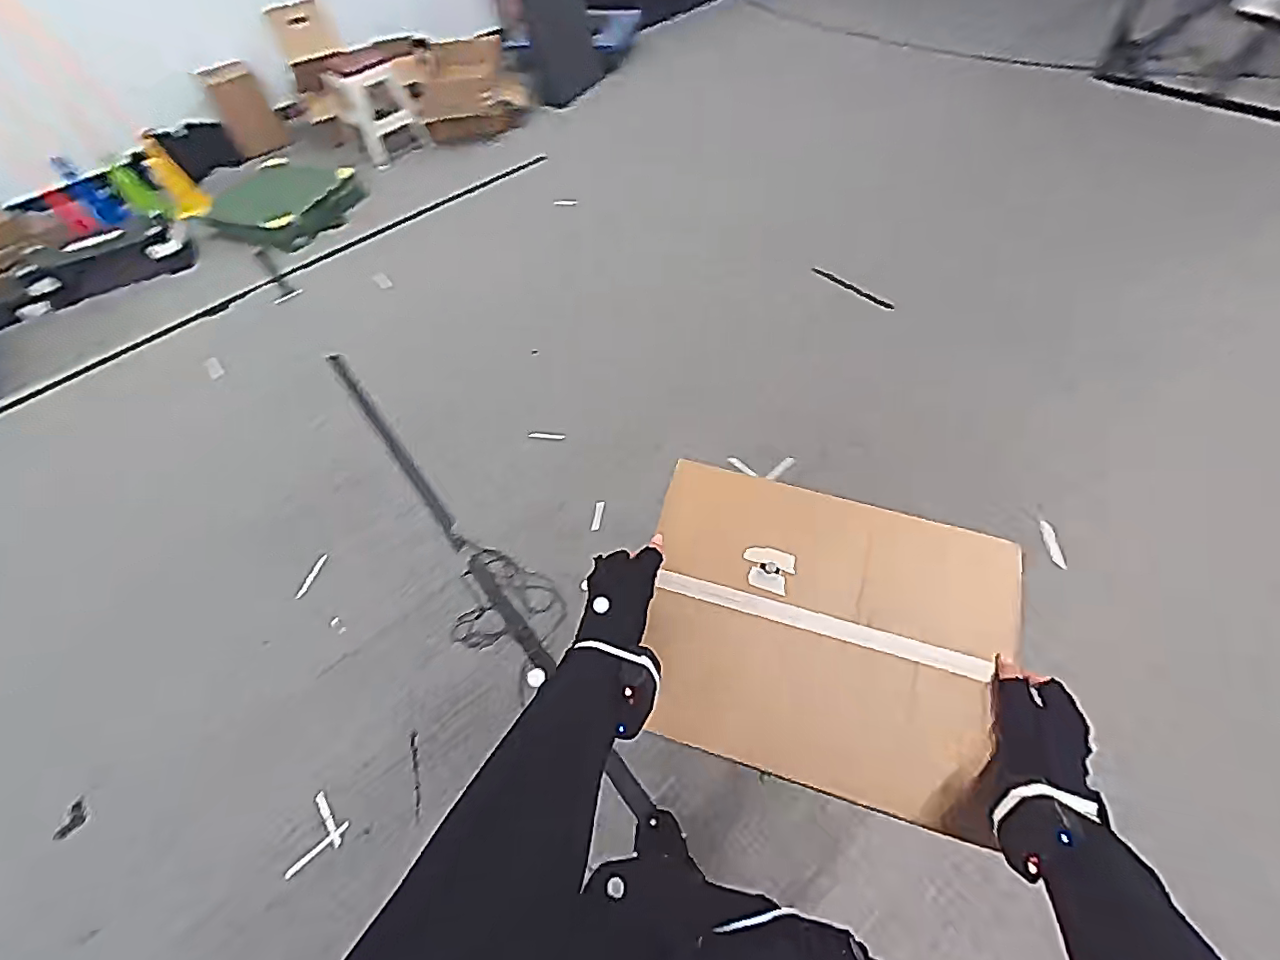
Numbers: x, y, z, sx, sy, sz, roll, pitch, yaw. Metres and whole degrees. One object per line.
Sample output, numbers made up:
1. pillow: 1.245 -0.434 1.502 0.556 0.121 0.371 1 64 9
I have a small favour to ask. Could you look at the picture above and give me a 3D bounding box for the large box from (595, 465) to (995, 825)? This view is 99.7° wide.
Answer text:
1. large box: 0.194 0.214 0.740 0.408 0.320 0.320 13 67 11
